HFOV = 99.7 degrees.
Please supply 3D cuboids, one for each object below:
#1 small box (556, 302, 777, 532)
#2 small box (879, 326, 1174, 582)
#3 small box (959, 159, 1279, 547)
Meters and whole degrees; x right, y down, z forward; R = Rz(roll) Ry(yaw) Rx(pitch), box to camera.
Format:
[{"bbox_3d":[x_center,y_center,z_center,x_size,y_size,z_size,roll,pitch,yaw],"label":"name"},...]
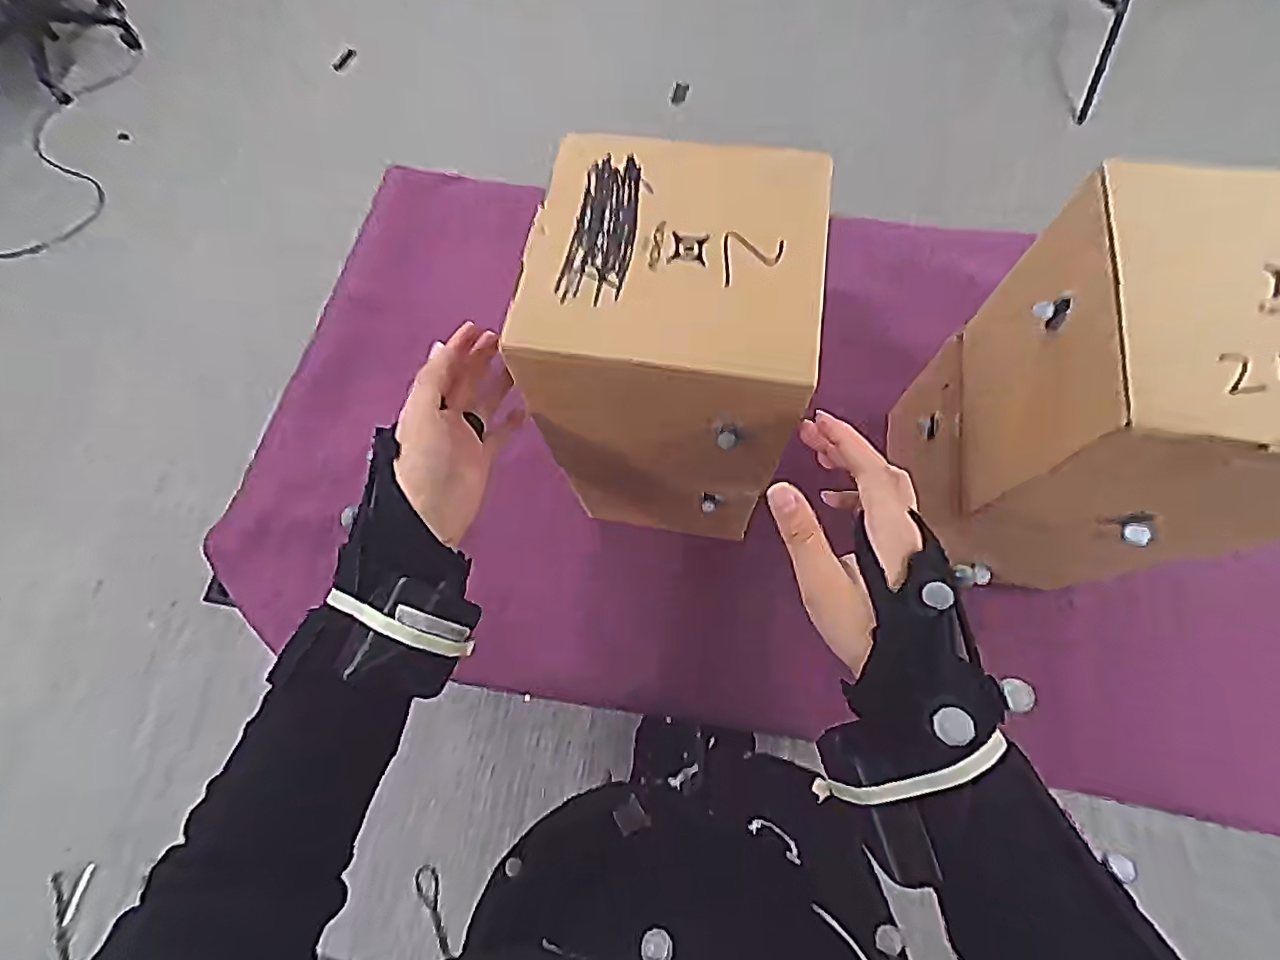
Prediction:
[{"bbox_3d":[0.032,-0.054,0.551,0.179,0.176,0.168,8,71,6],"label":"small box"},{"bbox_3d":[0.341,-0.015,0.512,0.168,0.176,0.179,10,71,8],"label":"small box"},{"bbox_3d":[0.334,-0.069,0.357,0.168,0.176,0.179,9,71,8],"label":"small box"}]
